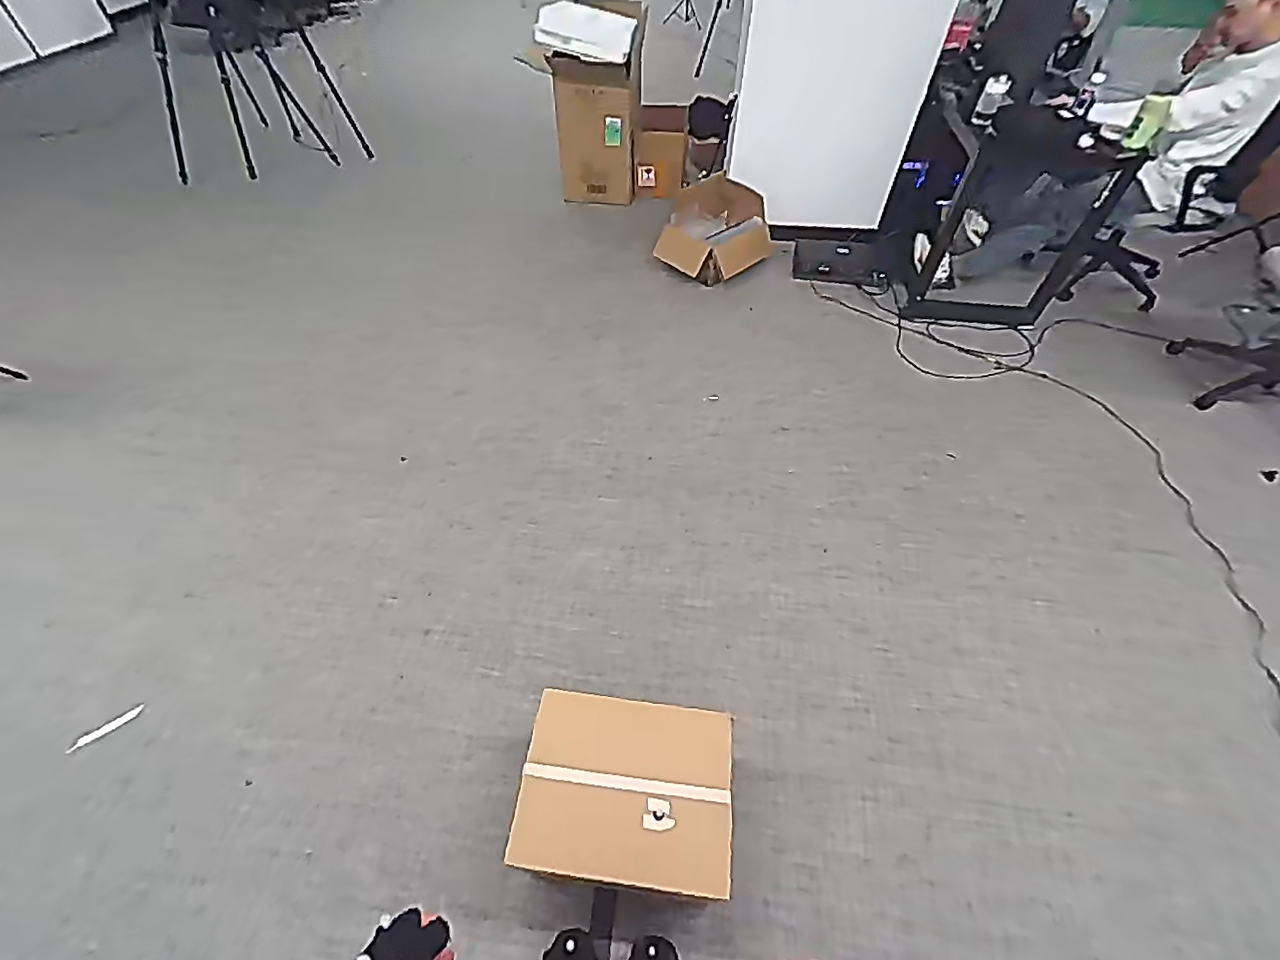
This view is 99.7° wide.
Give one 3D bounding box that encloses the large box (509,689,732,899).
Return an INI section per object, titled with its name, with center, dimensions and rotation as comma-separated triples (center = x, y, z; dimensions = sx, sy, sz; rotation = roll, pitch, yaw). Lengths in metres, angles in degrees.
[large box]
center = -0.029, 0.677, 1.161
dimensions = 0.408, 0.320, 0.320
rotation = 7, 52, 3
